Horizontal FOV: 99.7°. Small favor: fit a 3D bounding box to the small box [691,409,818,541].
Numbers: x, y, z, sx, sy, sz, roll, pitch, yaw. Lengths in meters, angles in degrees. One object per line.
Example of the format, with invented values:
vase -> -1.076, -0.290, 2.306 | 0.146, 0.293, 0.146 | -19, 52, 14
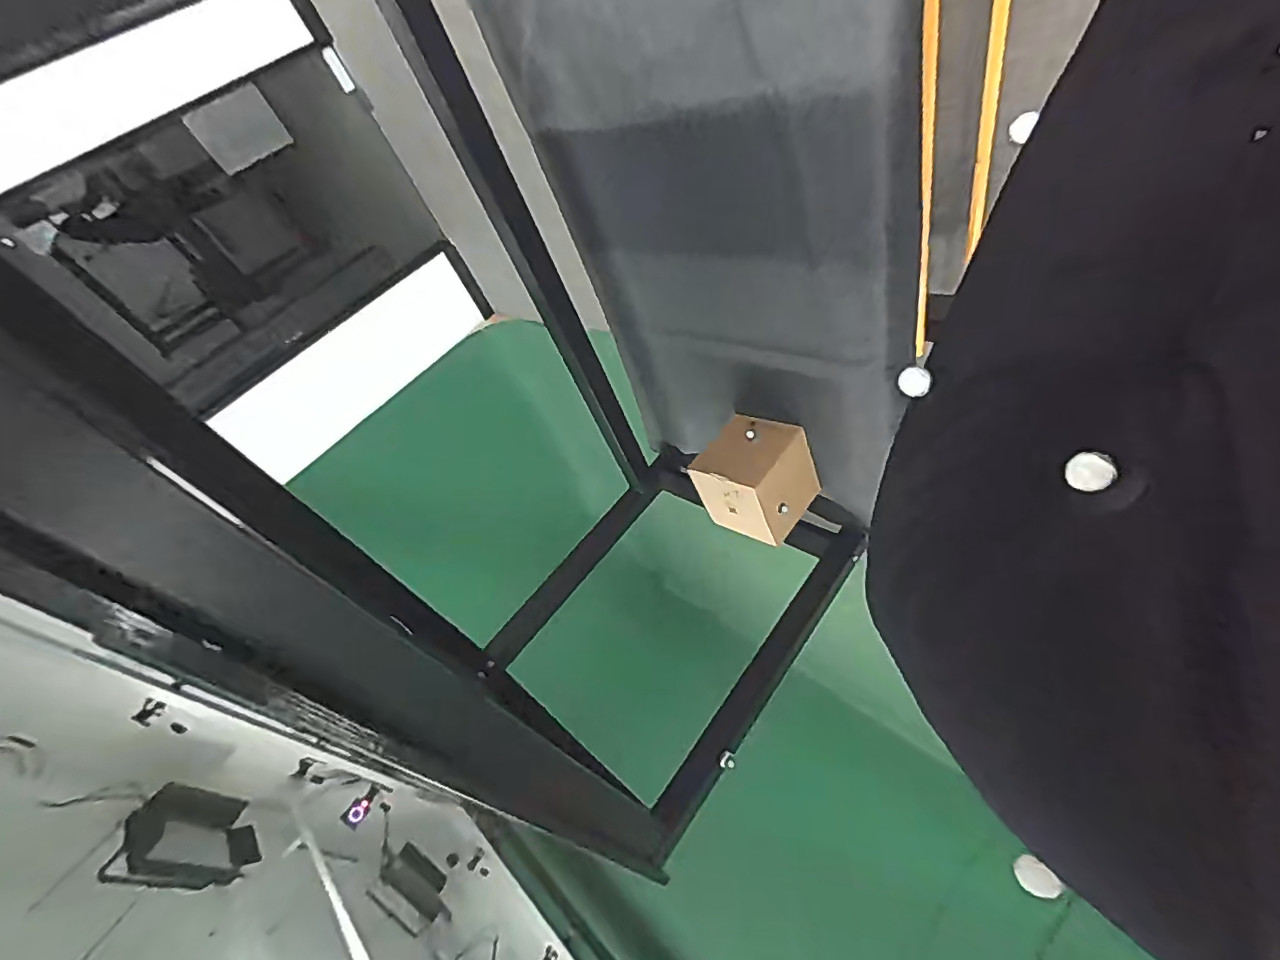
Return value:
small box -> 0.237, -0.014, 1.089 | 0.168, 0.176, 0.179 | 20, 150, 44
